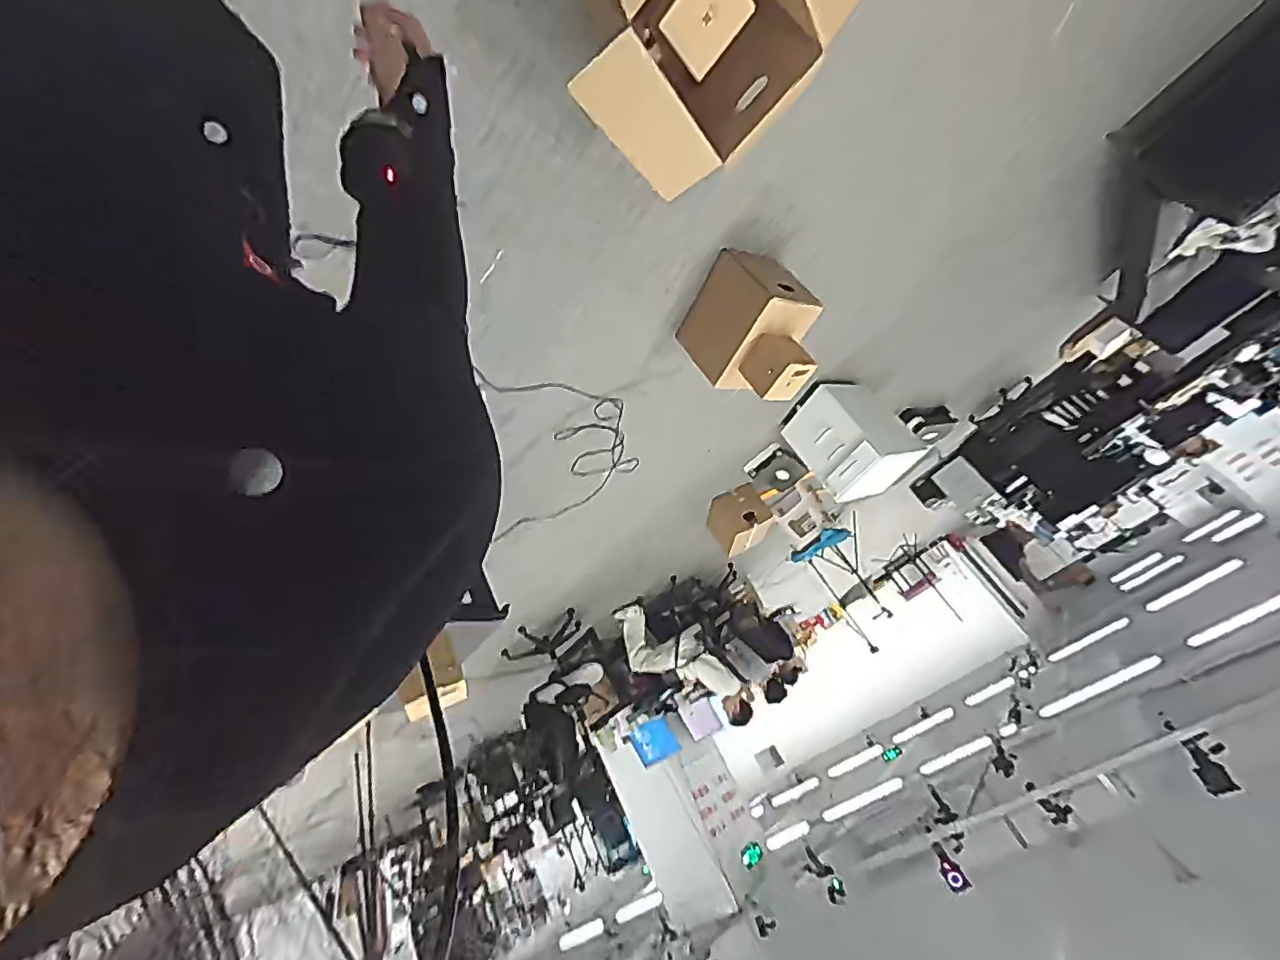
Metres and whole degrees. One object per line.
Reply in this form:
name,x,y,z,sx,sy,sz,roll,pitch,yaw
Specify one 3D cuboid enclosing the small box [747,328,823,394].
small box,0.524,-0.435,1.980,0.168,0.176,0.179,-6,144,-37
